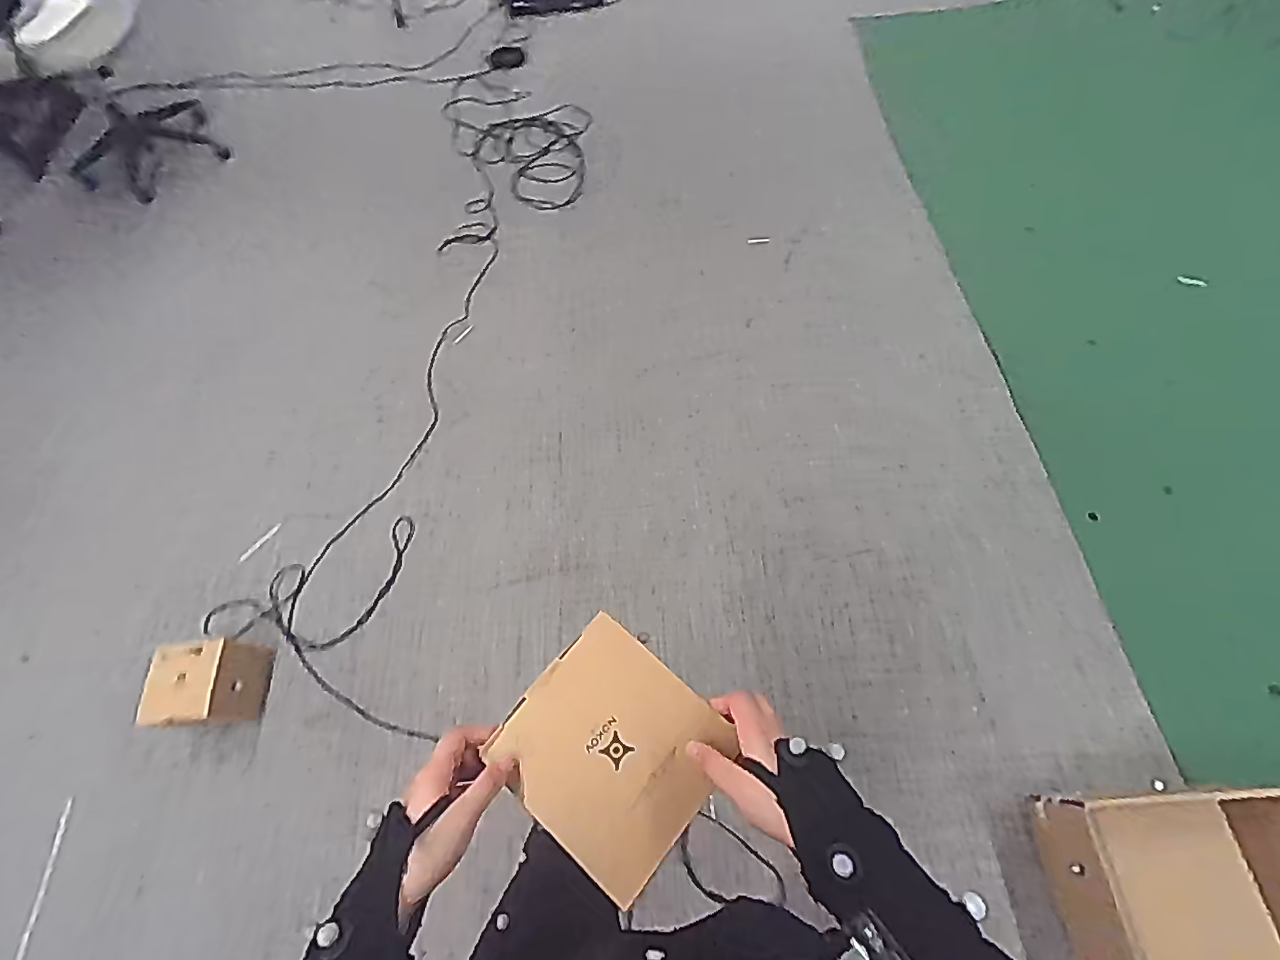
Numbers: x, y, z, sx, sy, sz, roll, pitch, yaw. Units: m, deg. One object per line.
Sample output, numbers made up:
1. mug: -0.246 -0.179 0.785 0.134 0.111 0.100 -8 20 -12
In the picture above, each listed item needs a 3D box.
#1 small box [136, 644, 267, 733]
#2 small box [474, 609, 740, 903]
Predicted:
1. small box: -1.041 0.504 1.303 0.168 0.176 0.179 -8 65 1
2. small box: -0.029 0.258 0.544 0.179 0.176 0.168 38 75 12
